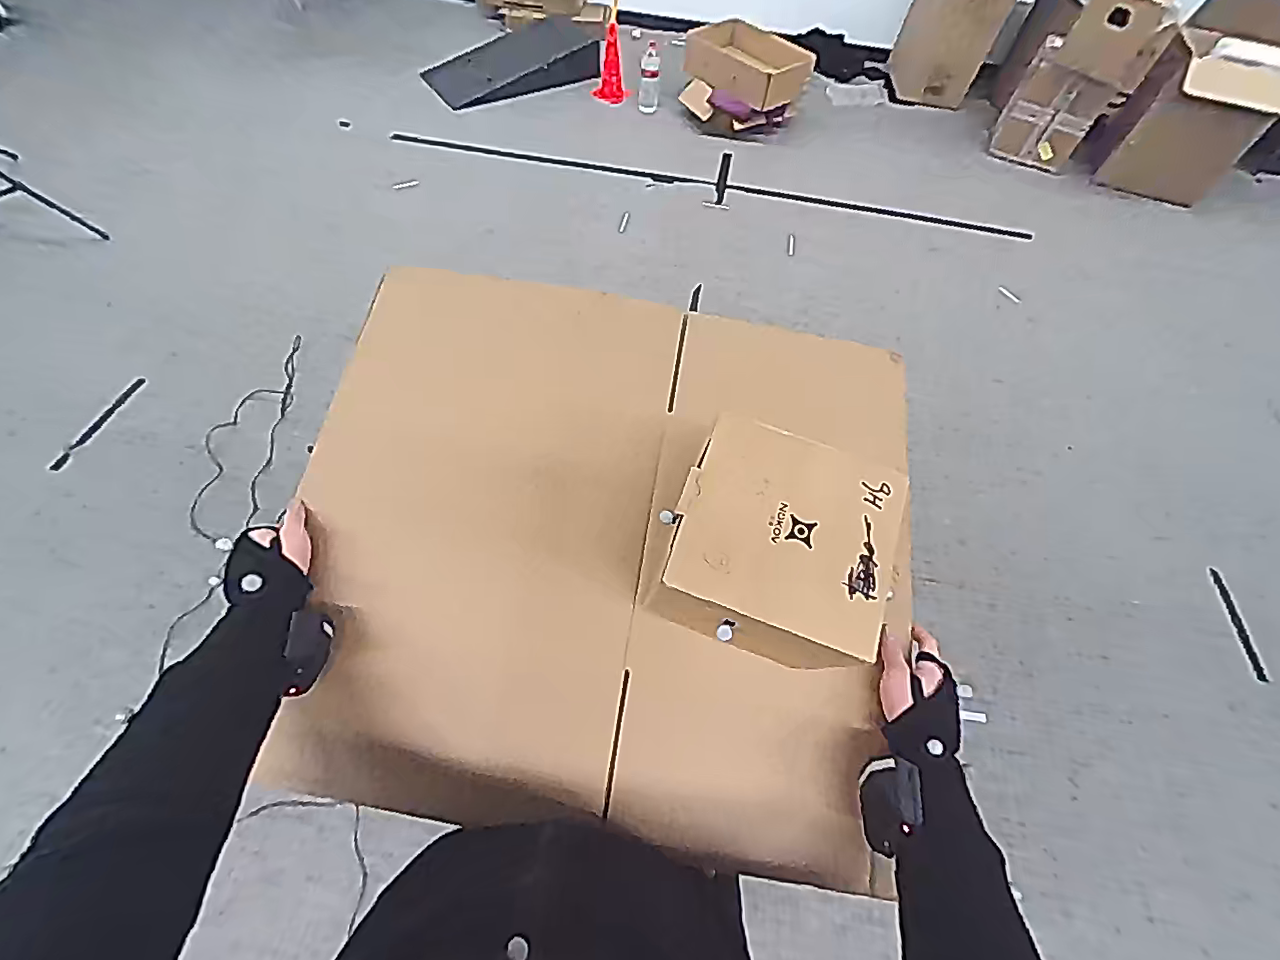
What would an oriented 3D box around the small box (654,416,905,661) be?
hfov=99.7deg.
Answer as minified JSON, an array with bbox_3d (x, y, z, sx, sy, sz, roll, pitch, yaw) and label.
[{"bbox_3d":[0.120,0.069,0.526,0.179,0.176,0.168,19,69,5],"label":"small box"}]
